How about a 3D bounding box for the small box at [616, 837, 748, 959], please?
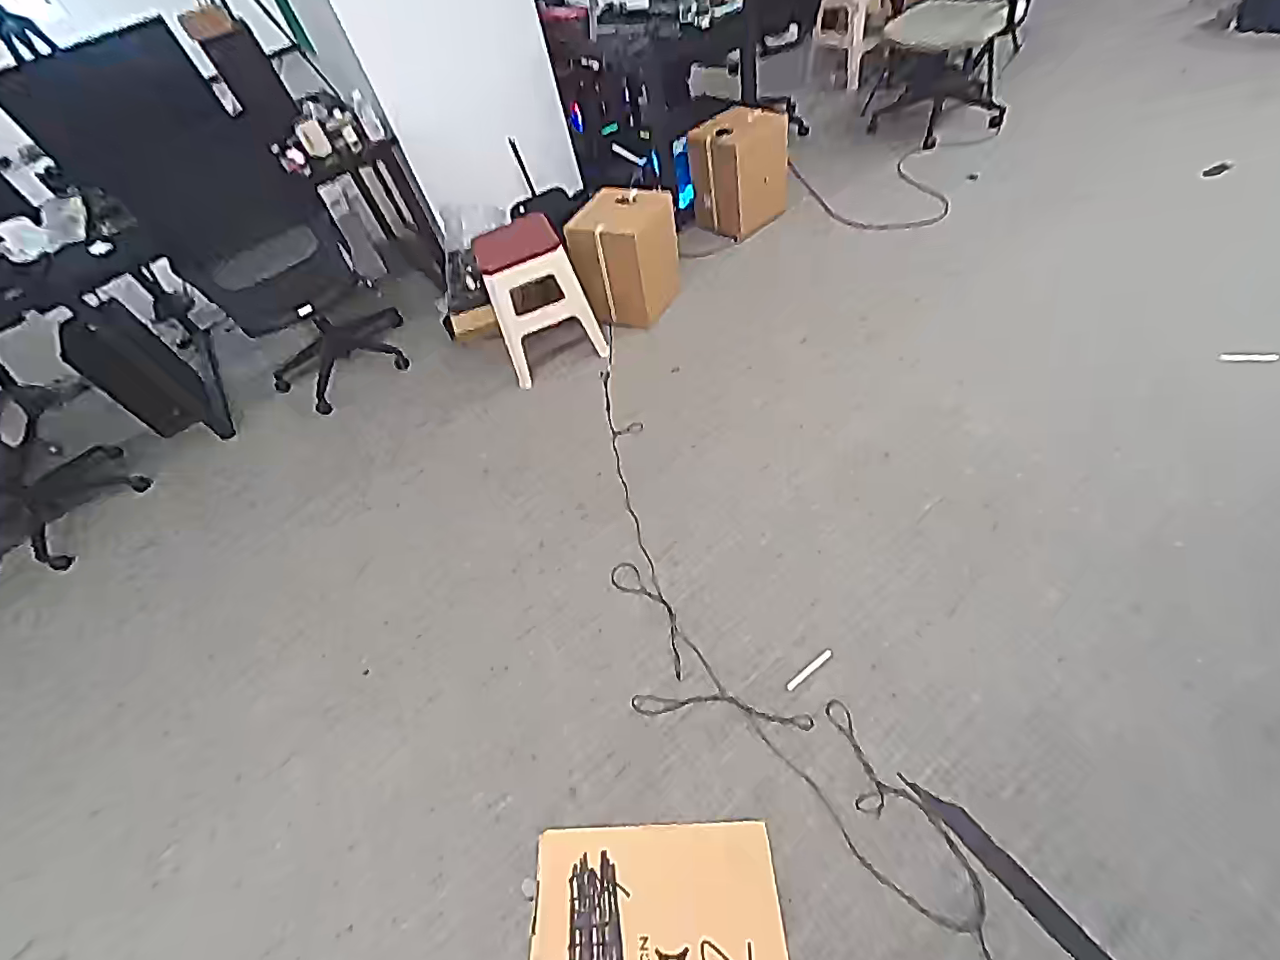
[{"bbox_3d":[0.079,0.789,0.978,0.168,0.176,0.179,-30,52,-9],"label":"small box"}]
